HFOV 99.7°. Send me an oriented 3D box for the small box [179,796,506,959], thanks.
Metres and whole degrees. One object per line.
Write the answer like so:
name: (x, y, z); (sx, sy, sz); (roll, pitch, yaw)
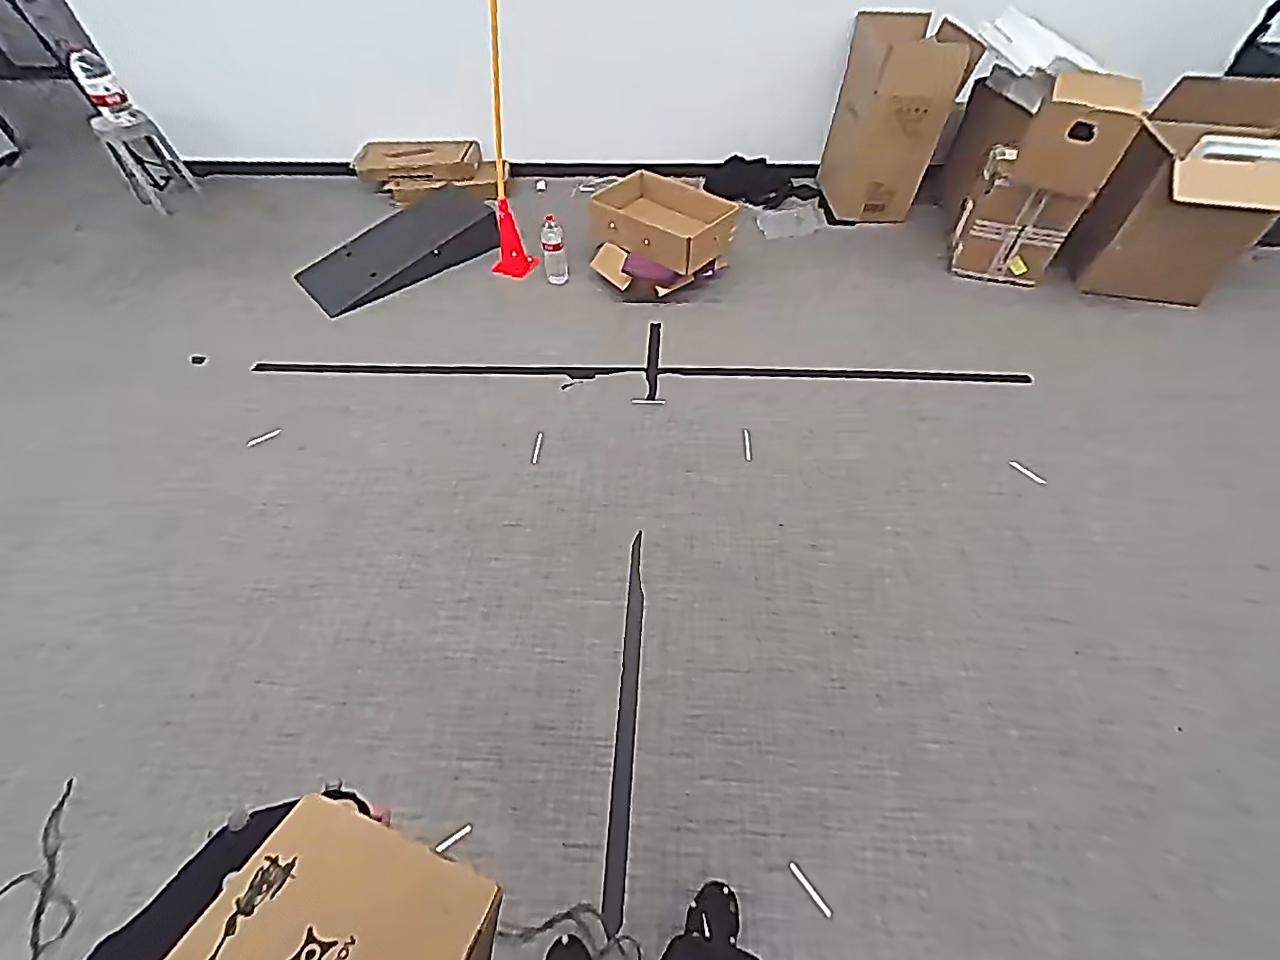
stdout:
small box: (-0.222, 0.385, 0.401); (0.179, 0.176, 0.168); (20, 32, 8)
